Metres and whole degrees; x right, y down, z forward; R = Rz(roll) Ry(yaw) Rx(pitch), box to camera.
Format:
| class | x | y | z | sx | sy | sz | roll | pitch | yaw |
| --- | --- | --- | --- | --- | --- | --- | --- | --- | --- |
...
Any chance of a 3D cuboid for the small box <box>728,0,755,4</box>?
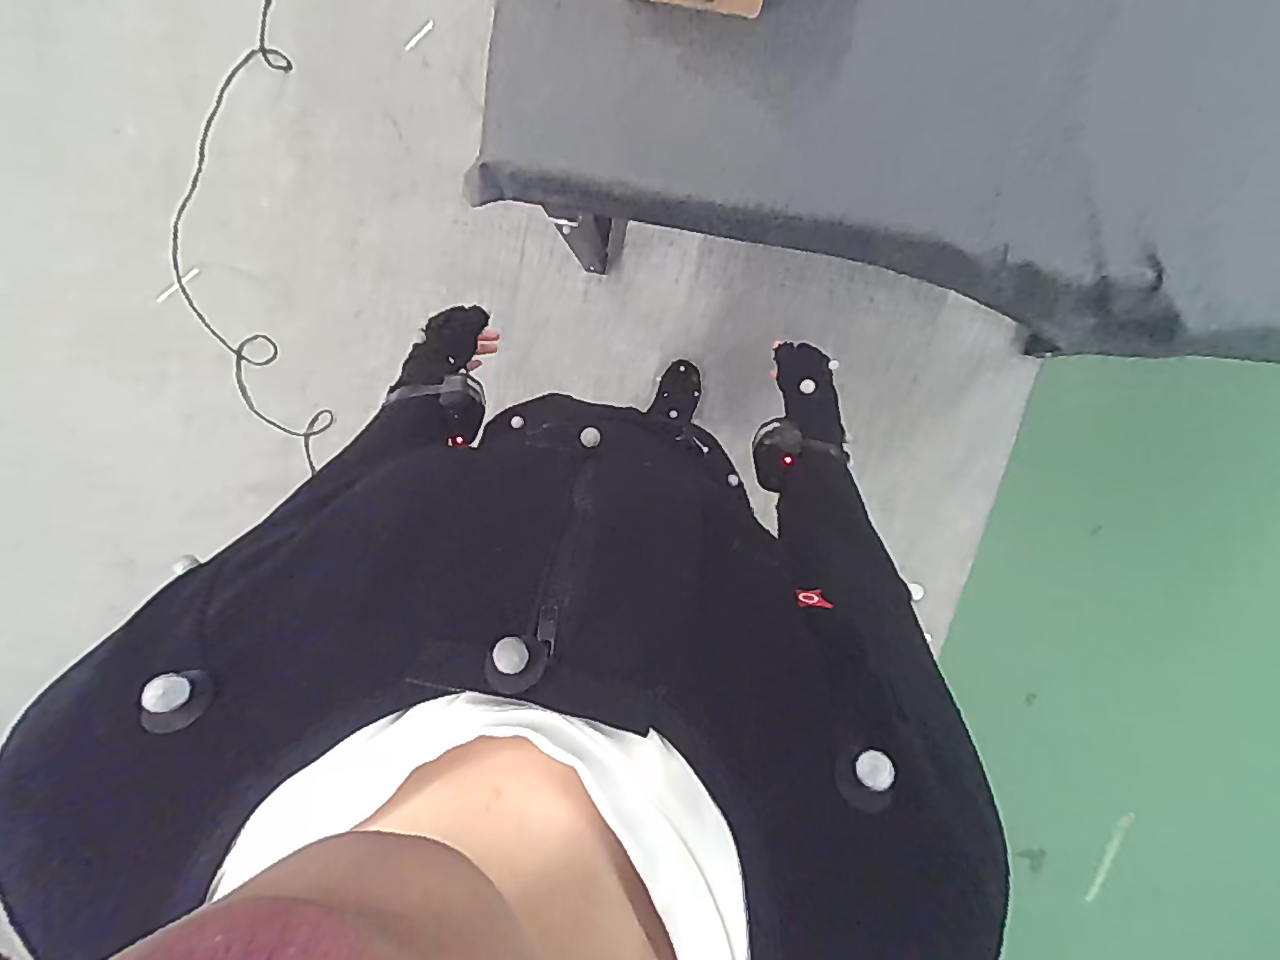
| class | x | y | z | sx | sy | sz | roll | pitch | yaw |
| --- | --- | --- | --- | --- | --- | --- | --- | --- | --- |
| small box | 0.068 | -0.626 | 0.533 | 0.168 | 0.176 | 0.179 | 10 | 101 | 1 |
